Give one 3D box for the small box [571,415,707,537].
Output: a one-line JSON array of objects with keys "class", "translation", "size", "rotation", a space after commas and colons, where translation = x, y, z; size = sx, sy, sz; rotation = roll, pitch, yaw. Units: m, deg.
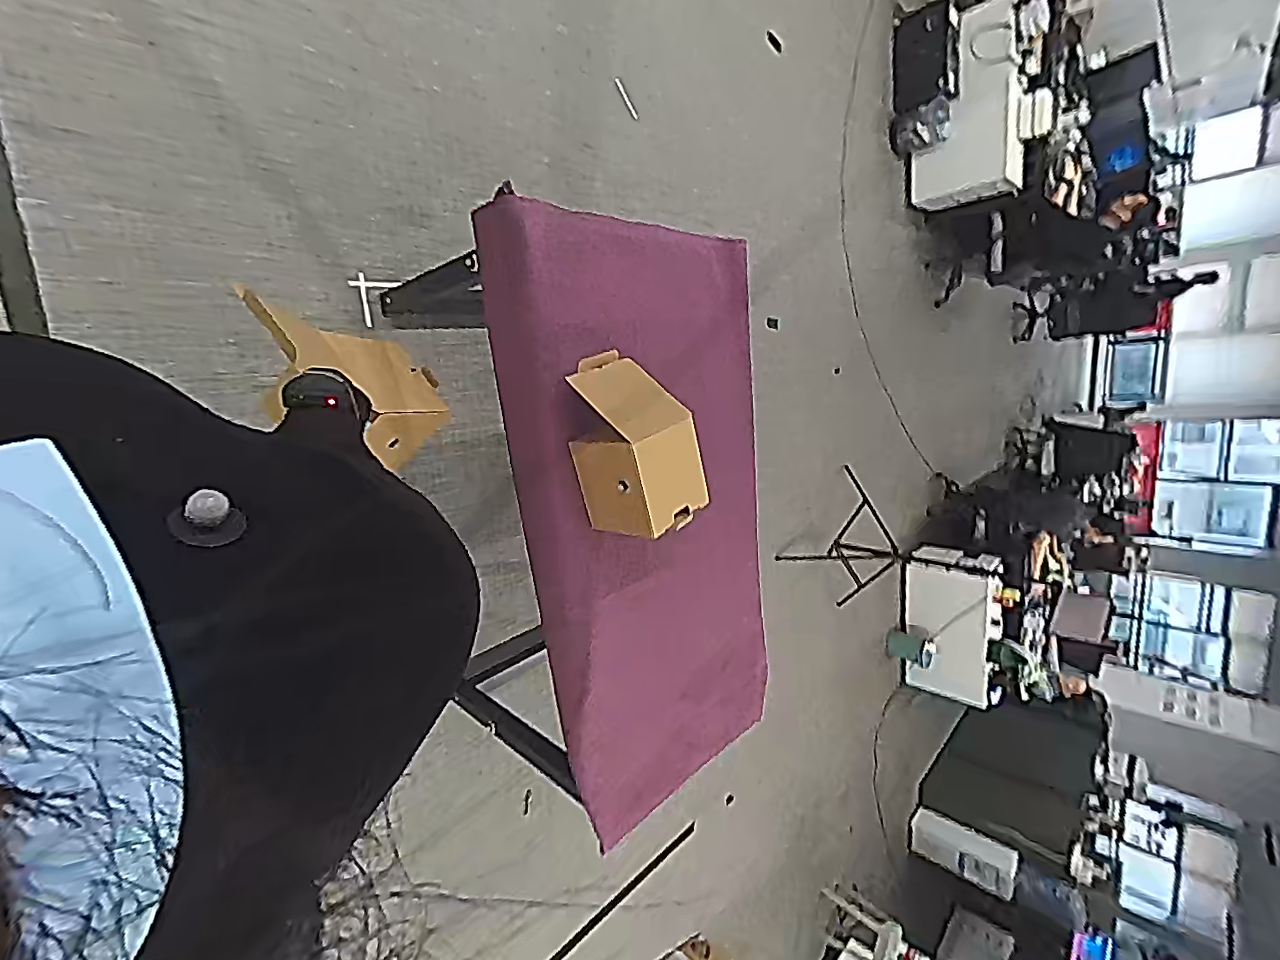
[{"class": "small box", "translation": [-0.004, -0.013, 0.998], "size": [0.168, 0.176, 0.179], "rotation": [-28, 112, -40]}]
